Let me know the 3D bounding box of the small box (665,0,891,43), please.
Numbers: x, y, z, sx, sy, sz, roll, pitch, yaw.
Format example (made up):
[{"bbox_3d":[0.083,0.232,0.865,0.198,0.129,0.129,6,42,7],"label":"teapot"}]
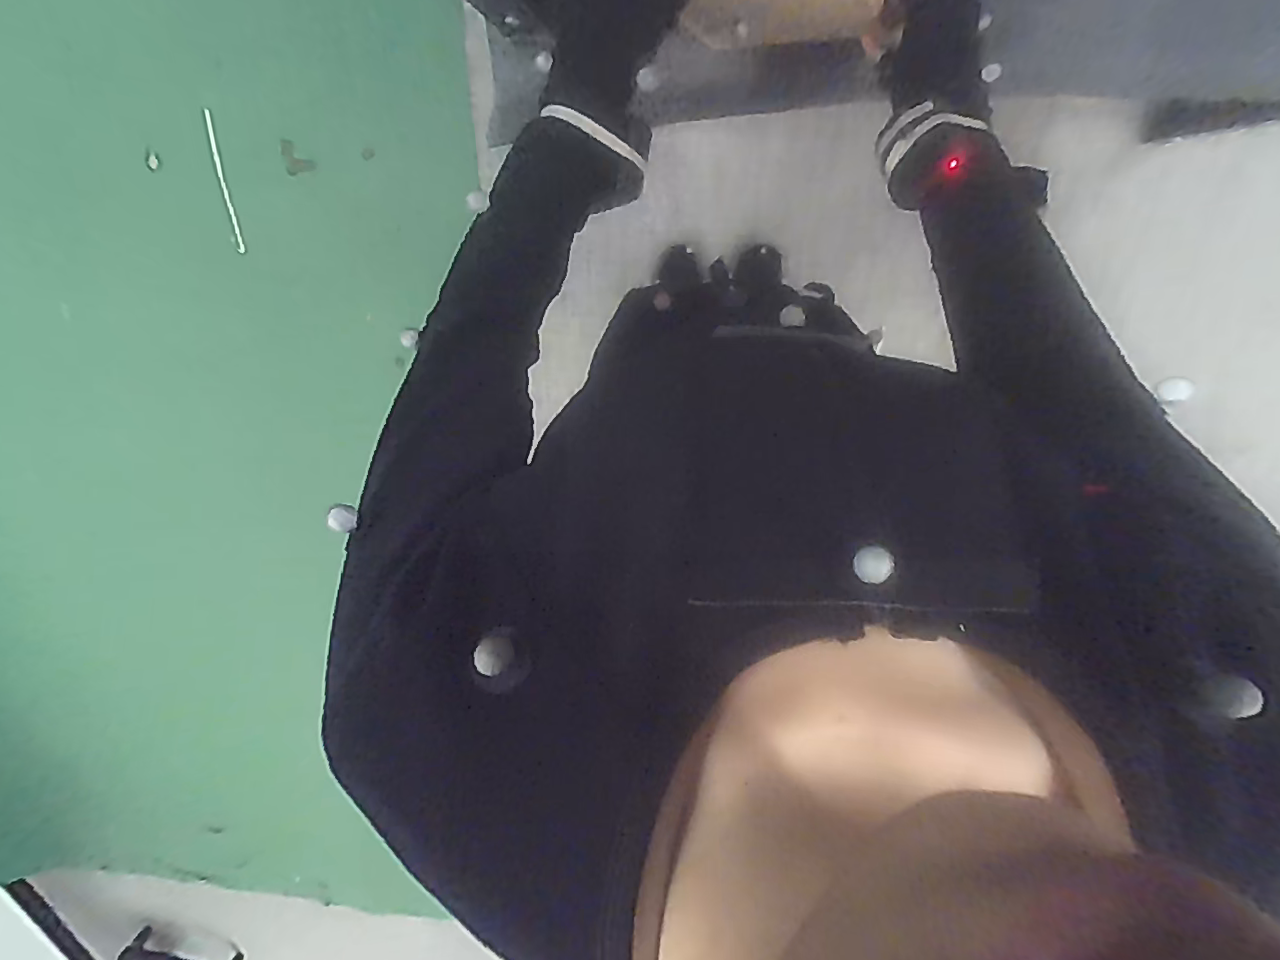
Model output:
[{"bbox_3d":[0.112,-0.470,0.411,0.176,0.168,0.179,14,117,23],"label":"small box"}]

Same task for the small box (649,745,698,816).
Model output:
[{"bbox_3d":[0.126,1.101,1.990,0.168,0.176,0.179,-3,115,9],"label":"small box"}]
